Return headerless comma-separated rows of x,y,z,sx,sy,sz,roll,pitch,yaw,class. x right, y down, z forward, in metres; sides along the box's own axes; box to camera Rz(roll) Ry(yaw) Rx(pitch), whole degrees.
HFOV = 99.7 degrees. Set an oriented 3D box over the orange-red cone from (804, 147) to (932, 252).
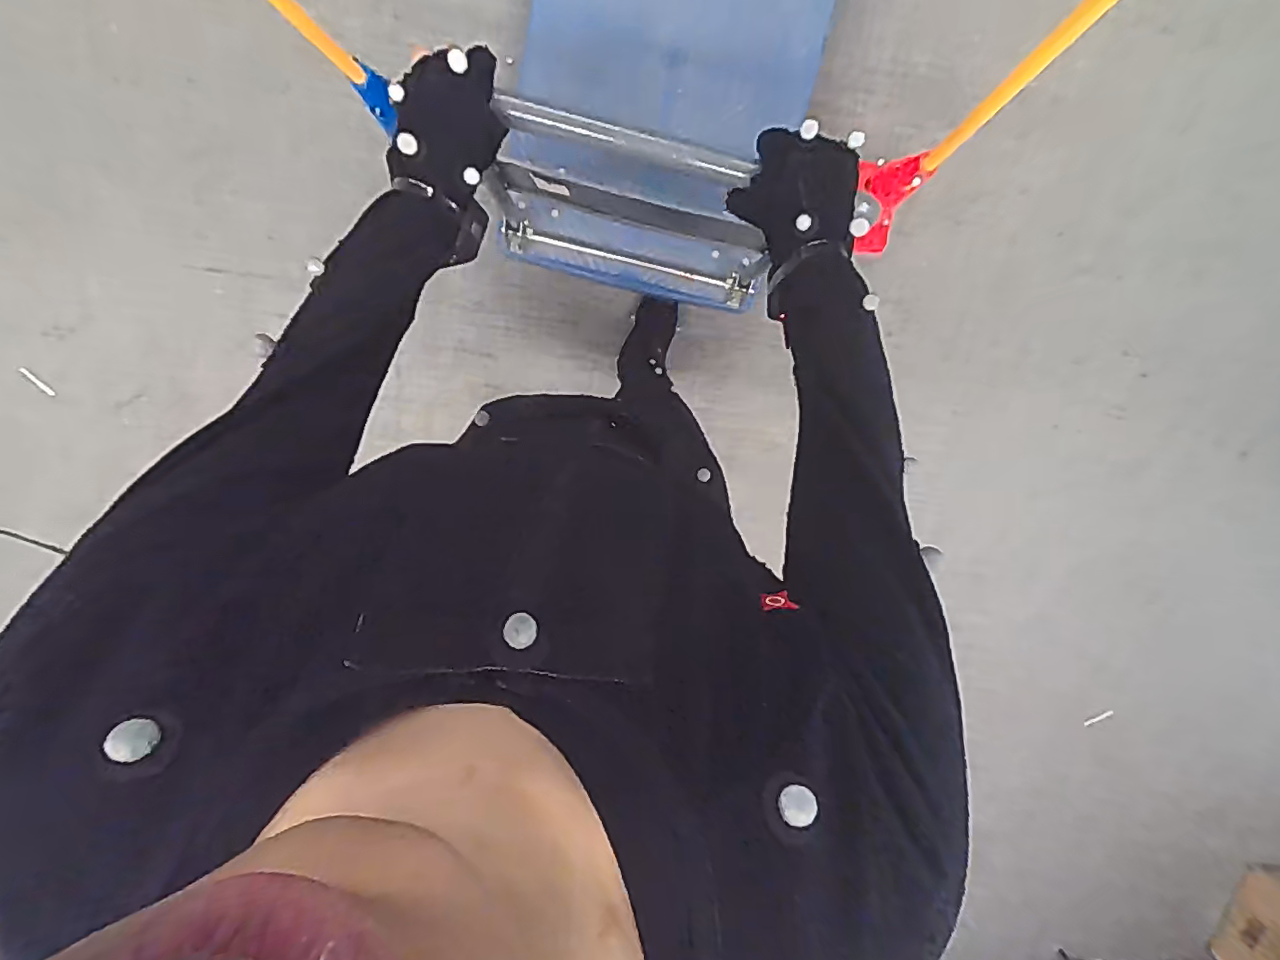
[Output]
0.513,-0.631,1.157,0.199,0.360,0.198,8,104,-2,orange-red cone
